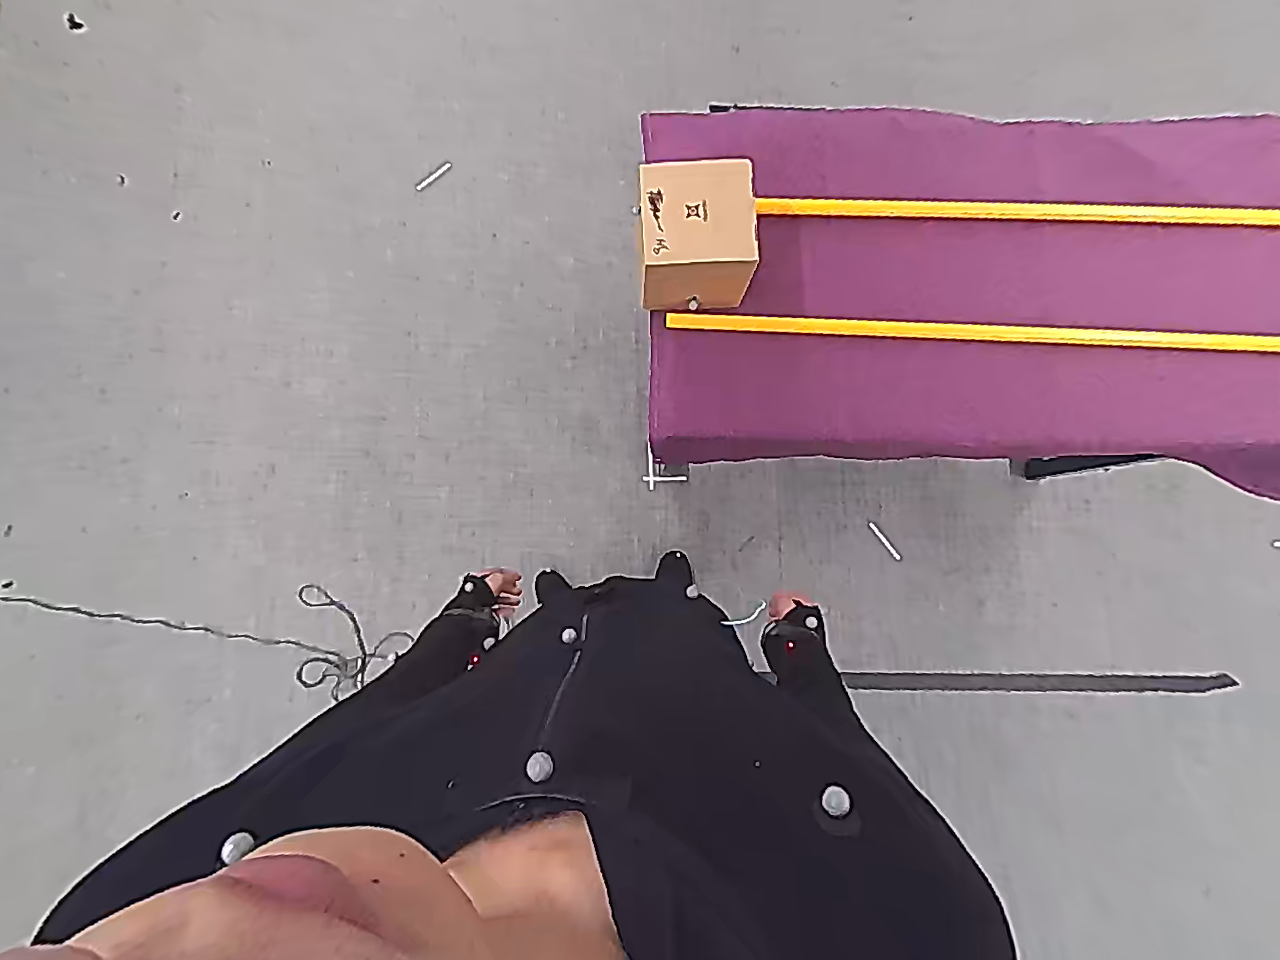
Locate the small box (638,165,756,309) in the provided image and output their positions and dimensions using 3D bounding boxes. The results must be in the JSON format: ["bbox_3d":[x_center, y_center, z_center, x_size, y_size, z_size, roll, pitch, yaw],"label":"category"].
[{"bbox_3d":[0.087,-0.401,0.915,0.179,0.176,0.168,-2,84,-1],"label":"small box"}]
